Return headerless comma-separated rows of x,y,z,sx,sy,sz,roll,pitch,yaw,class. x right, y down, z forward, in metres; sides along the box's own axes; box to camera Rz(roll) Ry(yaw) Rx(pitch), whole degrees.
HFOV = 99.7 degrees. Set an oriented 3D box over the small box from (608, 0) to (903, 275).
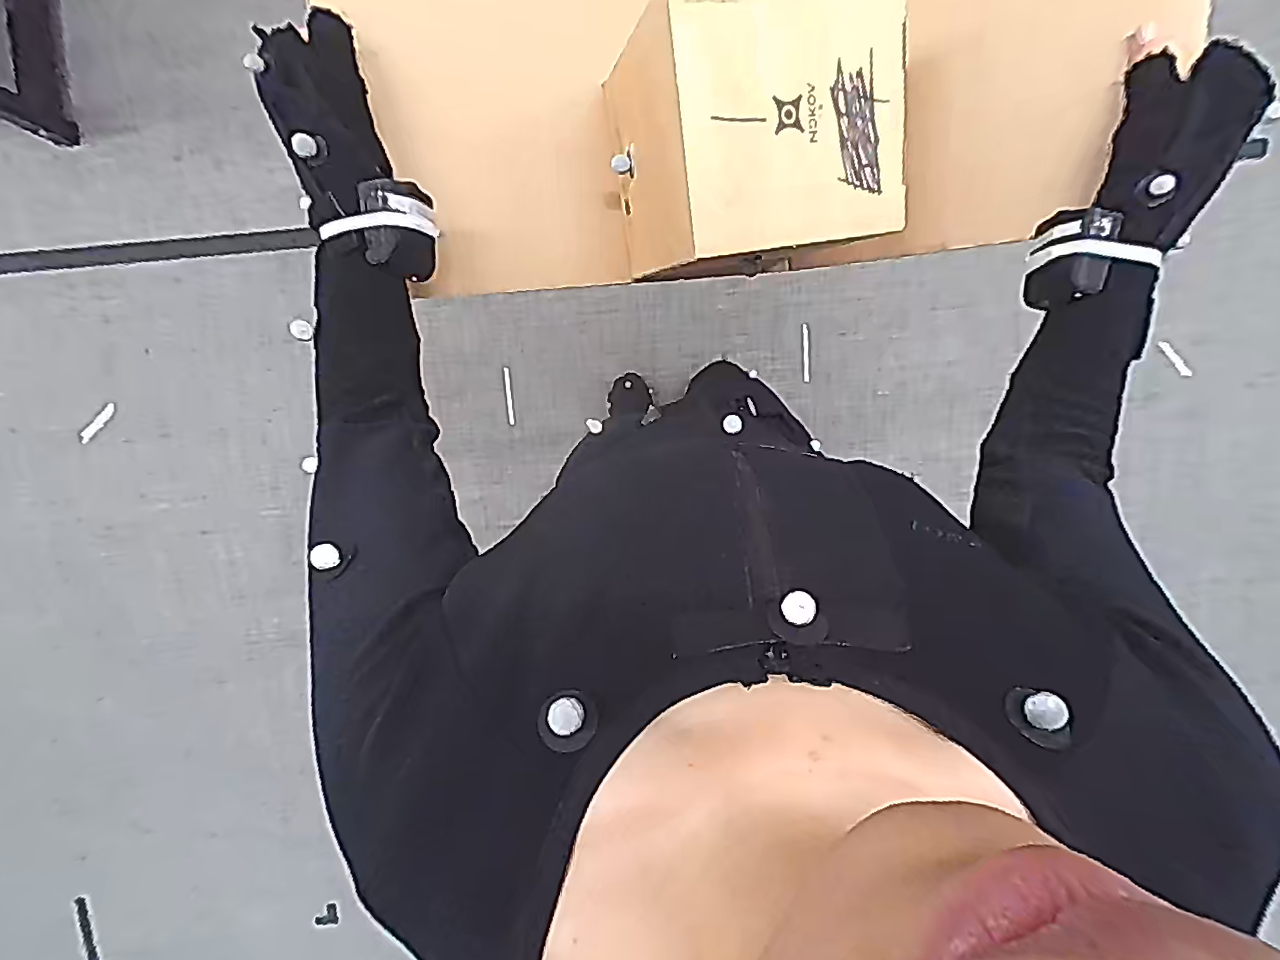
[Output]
0.085,-0.271,0.447,0.179,0.176,0.168,-13,108,-12,small box
